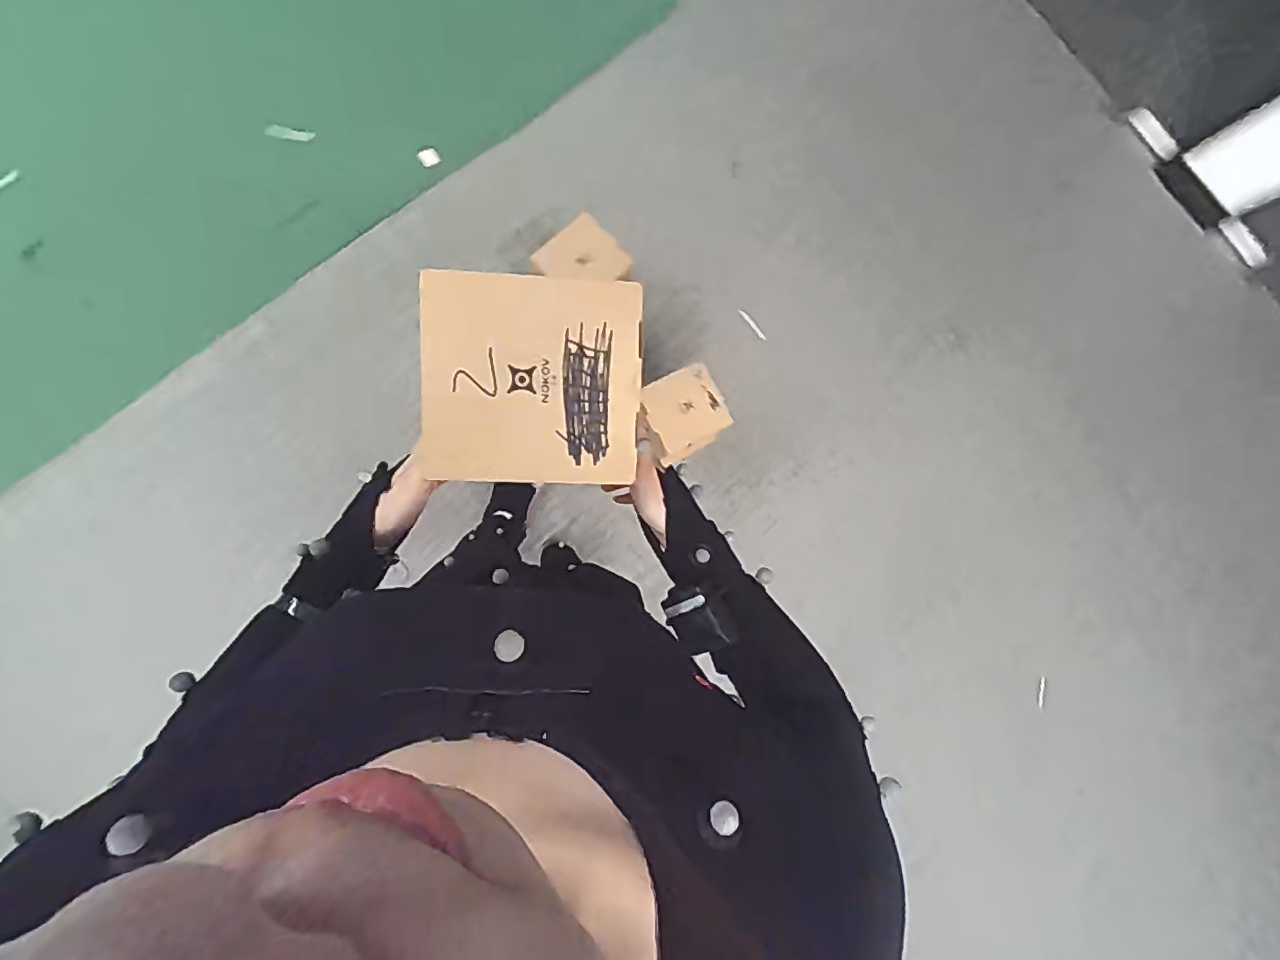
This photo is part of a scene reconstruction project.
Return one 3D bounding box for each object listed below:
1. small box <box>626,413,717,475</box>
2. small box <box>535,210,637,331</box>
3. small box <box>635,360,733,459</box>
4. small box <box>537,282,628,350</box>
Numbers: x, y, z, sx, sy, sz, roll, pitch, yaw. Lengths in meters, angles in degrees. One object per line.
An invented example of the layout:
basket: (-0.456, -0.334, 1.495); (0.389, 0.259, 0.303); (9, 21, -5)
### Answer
small box: (0.078, -0.128, 1.464); (0.179, 0.176, 0.168); (-30, 90, -7)
small box: (-0.131, -0.494, 1.300); (0.179, 0.176, 0.168); (-44, 91, -7)
small box: (0.096, -0.160, 1.303); (0.179, 0.176, 0.168); (-26, 89, -7)
small box: (-0.157, -0.485, 1.459); (0.179, 0.176, 0.168); (-44, 92, -8)
